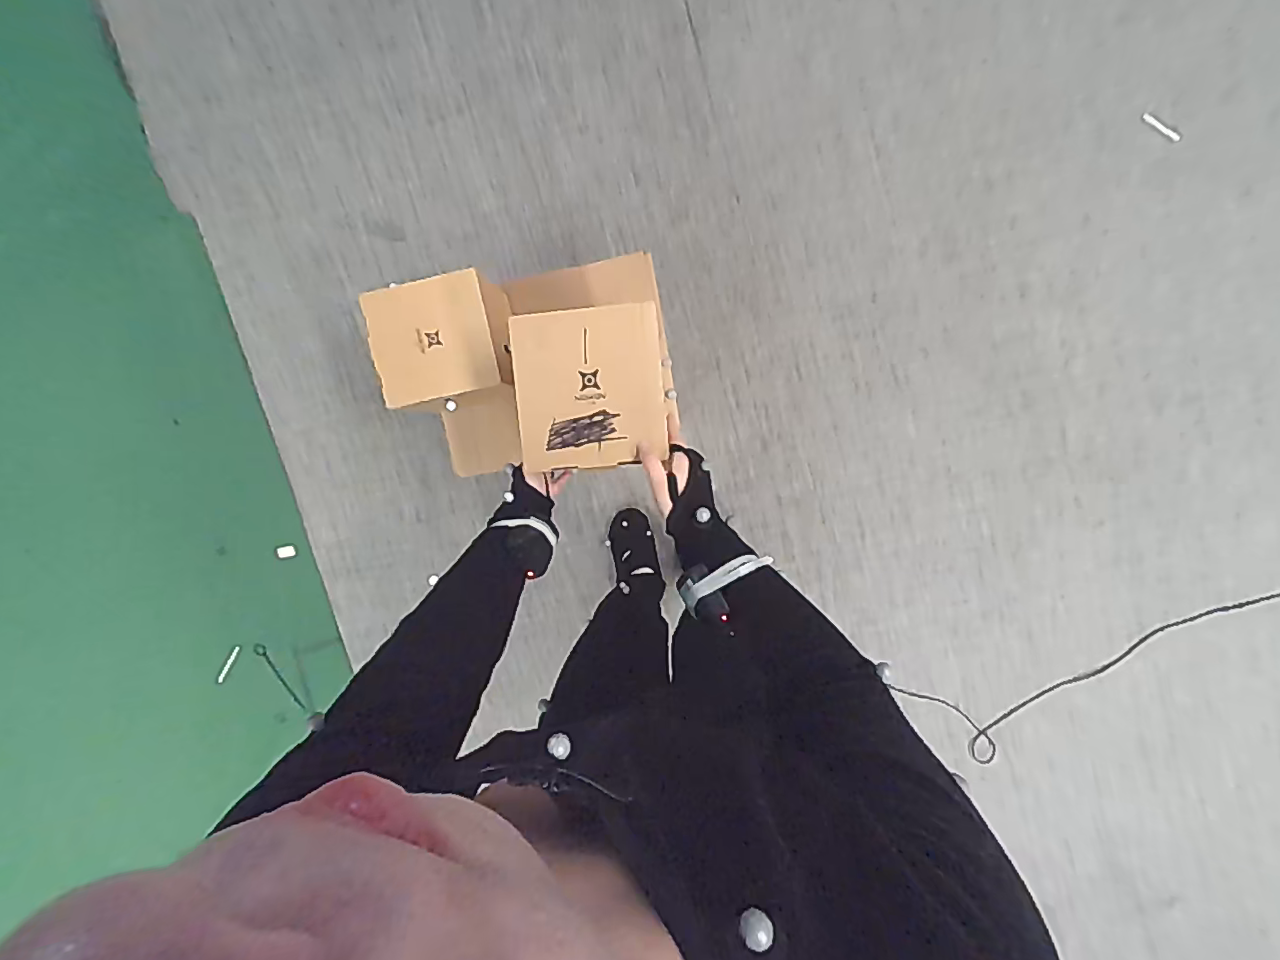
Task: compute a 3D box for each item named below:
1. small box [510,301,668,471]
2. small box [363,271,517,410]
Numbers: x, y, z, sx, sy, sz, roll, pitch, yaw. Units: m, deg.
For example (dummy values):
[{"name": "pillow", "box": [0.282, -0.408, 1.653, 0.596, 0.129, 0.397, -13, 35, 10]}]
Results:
[{"name": "small box", "box": [-0.052, -0.109, 0.676, 0.168, 0.176, 0.179, -5, 93, 3]}, {"name": "small box", "box": [-0.289, -0.207, 0.845, 0.179, 0.176, 0.168, -11, 94, 4]}]
